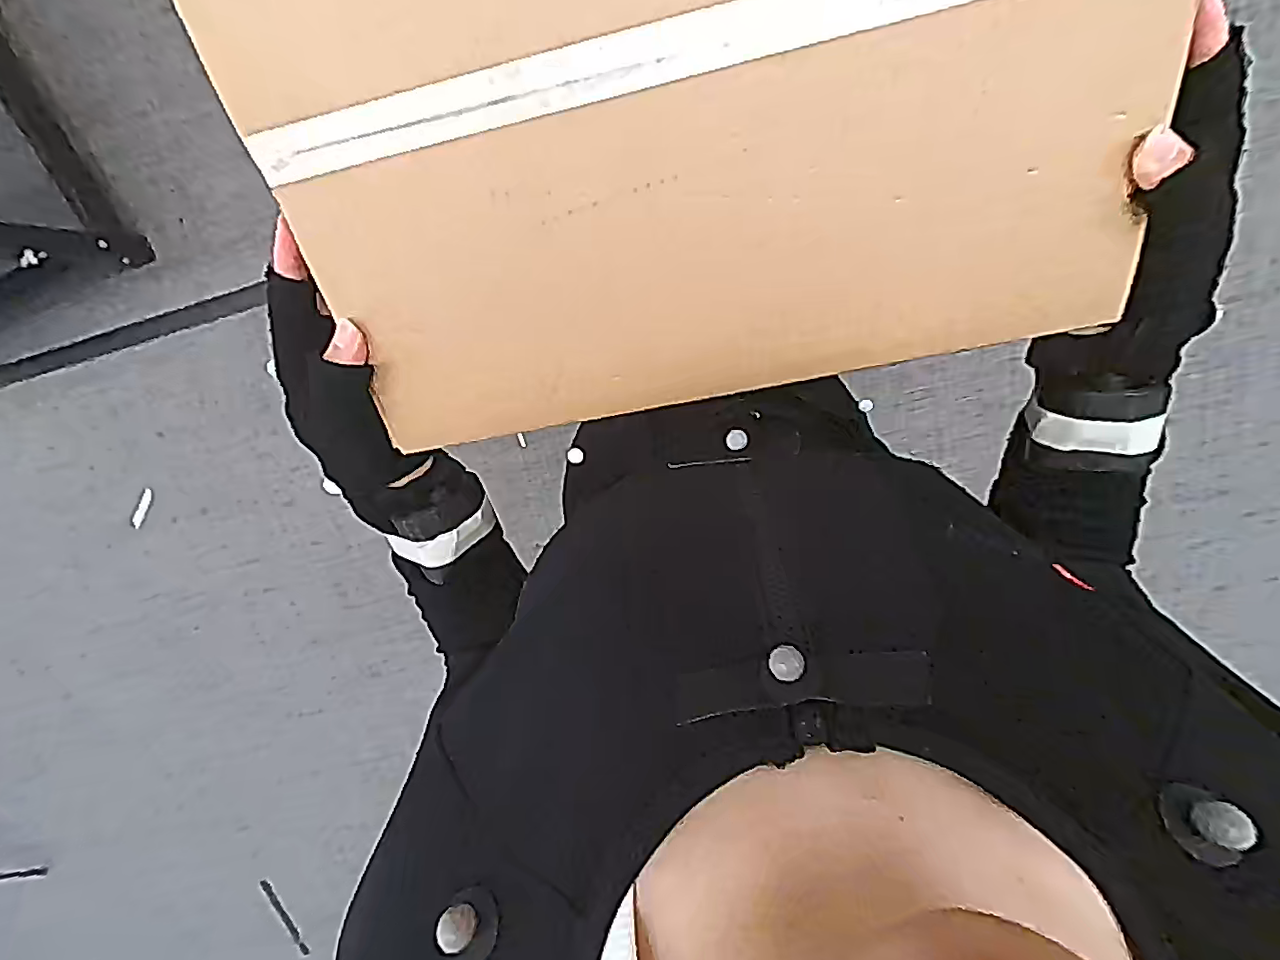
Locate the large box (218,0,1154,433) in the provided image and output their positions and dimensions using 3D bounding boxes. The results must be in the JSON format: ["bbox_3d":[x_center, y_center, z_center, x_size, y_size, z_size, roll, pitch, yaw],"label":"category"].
[{"bbox_3d":[0.021,-0.264,0.373,0.408,0.320,0.320,-10,120,6],"label":"large box"}]
